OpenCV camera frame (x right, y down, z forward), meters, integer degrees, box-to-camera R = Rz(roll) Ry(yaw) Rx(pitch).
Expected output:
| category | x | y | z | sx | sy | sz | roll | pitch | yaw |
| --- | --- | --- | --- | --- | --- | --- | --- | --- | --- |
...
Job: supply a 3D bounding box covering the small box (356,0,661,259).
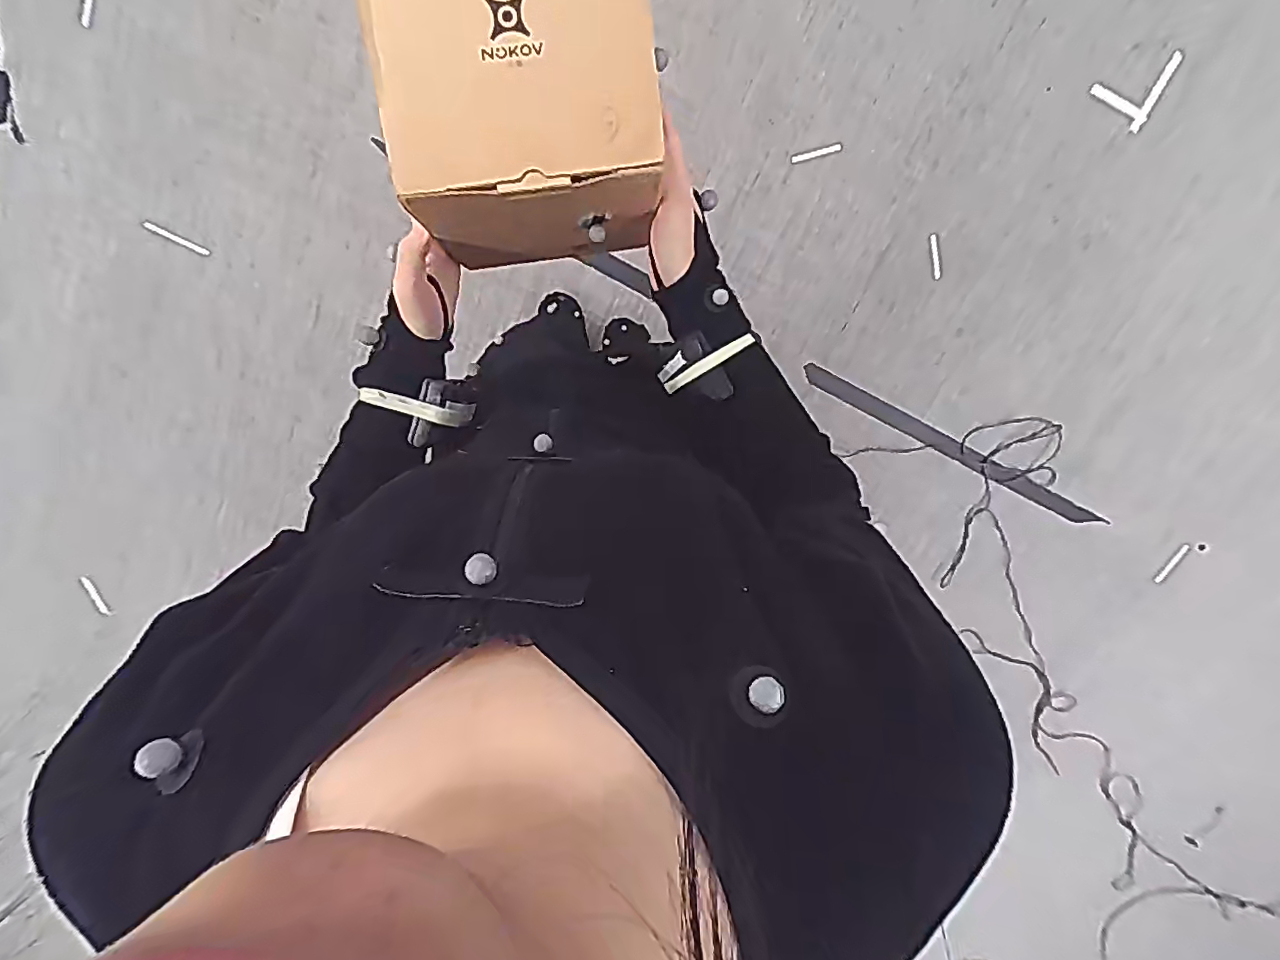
| category | x | y | z | sx | sy | sz | roll | pitch | yaw |
| --- | --- | --- | --- | --- | --- | --- | --- | --- | --- |
| small box | -0.081 | -0.272 | 0.389 | 0.168 | 0.176 | 0.179 | -9 | 97 | -3 |
